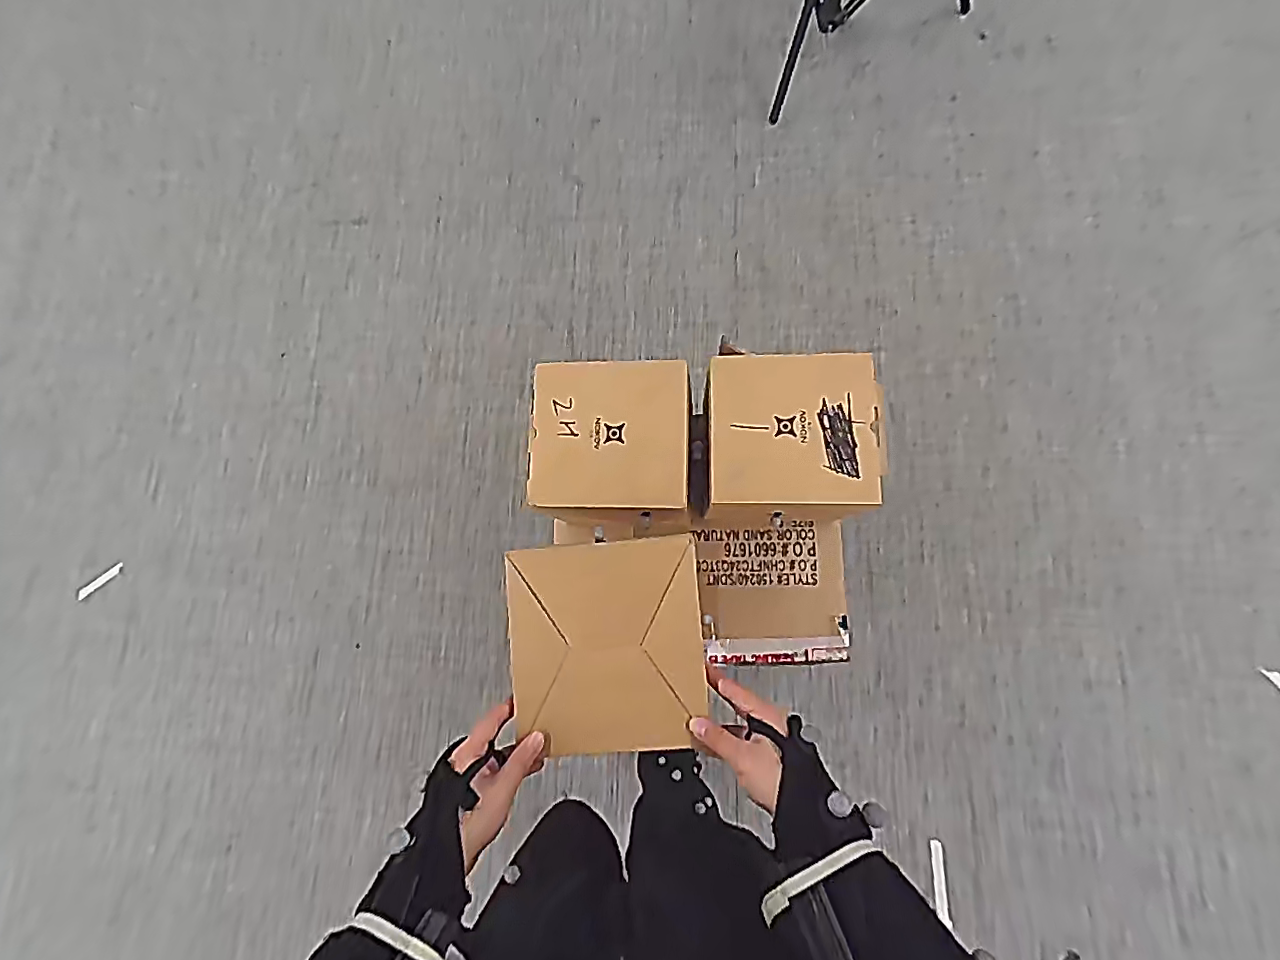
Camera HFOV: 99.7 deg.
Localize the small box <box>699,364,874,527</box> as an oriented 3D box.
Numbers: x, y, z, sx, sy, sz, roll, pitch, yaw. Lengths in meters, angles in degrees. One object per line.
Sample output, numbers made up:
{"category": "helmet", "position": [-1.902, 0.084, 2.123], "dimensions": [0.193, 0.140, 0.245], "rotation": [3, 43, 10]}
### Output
{"category": "small box", "position": [0.164, -0.033, 0.657], "dimensions": [0.179, 0.176, 0.168], "rotation": [0, 80, 4]}
